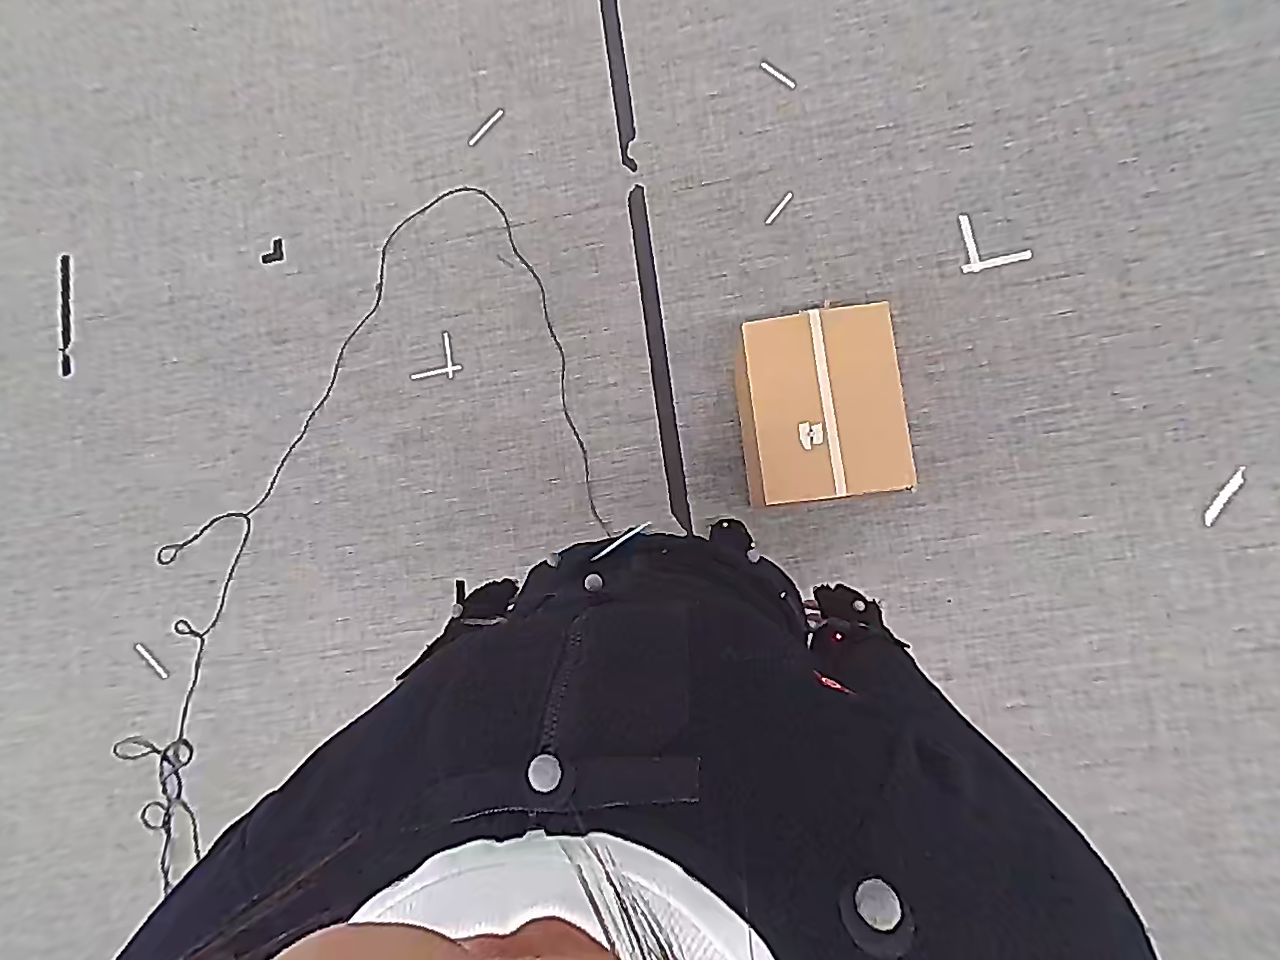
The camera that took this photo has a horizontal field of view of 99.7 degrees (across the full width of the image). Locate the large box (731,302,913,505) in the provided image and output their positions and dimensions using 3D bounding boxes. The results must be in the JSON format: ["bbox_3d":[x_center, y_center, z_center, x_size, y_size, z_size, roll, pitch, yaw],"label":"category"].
[{"bbox_3d":[0.410,-0.160,1.304,0.320,0.320,0.408,-7,86,6],"label":"large box"}]
